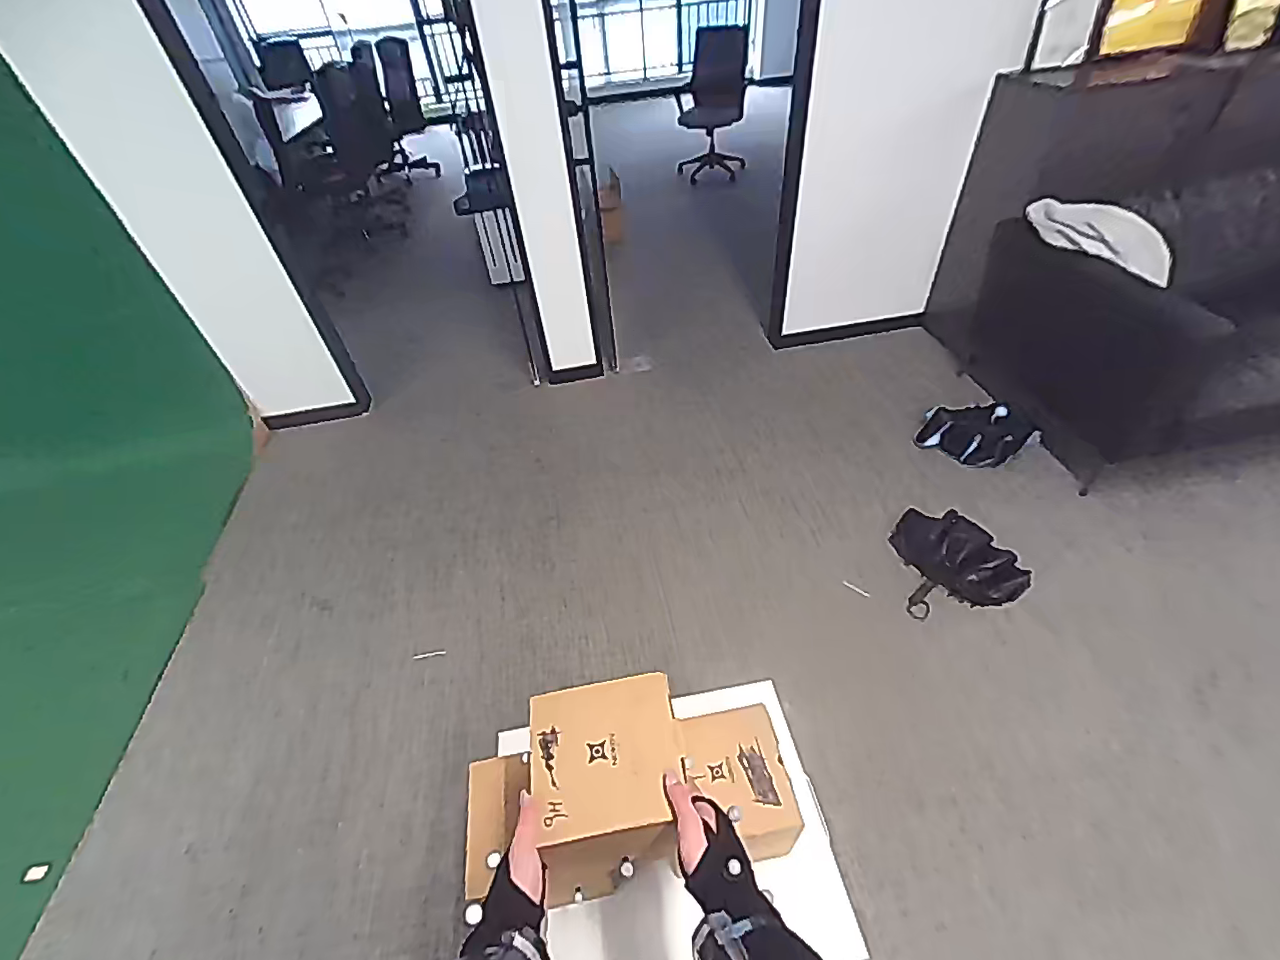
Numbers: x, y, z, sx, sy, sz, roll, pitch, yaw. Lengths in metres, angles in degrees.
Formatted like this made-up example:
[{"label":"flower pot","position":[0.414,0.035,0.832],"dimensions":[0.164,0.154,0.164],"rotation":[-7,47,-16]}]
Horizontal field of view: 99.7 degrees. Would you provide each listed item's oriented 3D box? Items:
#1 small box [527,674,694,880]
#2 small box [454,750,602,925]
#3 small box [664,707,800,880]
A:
[{"label":"small box","position":[-0.039,0.365,0.665],"dimensions":[0.179,0.176,0.168],"rotation":[-7,44,-5]},{"label":"small box","position":[-0.150,0.500,0.767],"dimensions":[0.179,0.176,0.168],"rotation":[-9,43,-7]},{"label":"small box","position":[0.111,0.460,0.793],"dimensions":[0.179,0.176,0.168],"rotation":[-9,44,-5]}]
